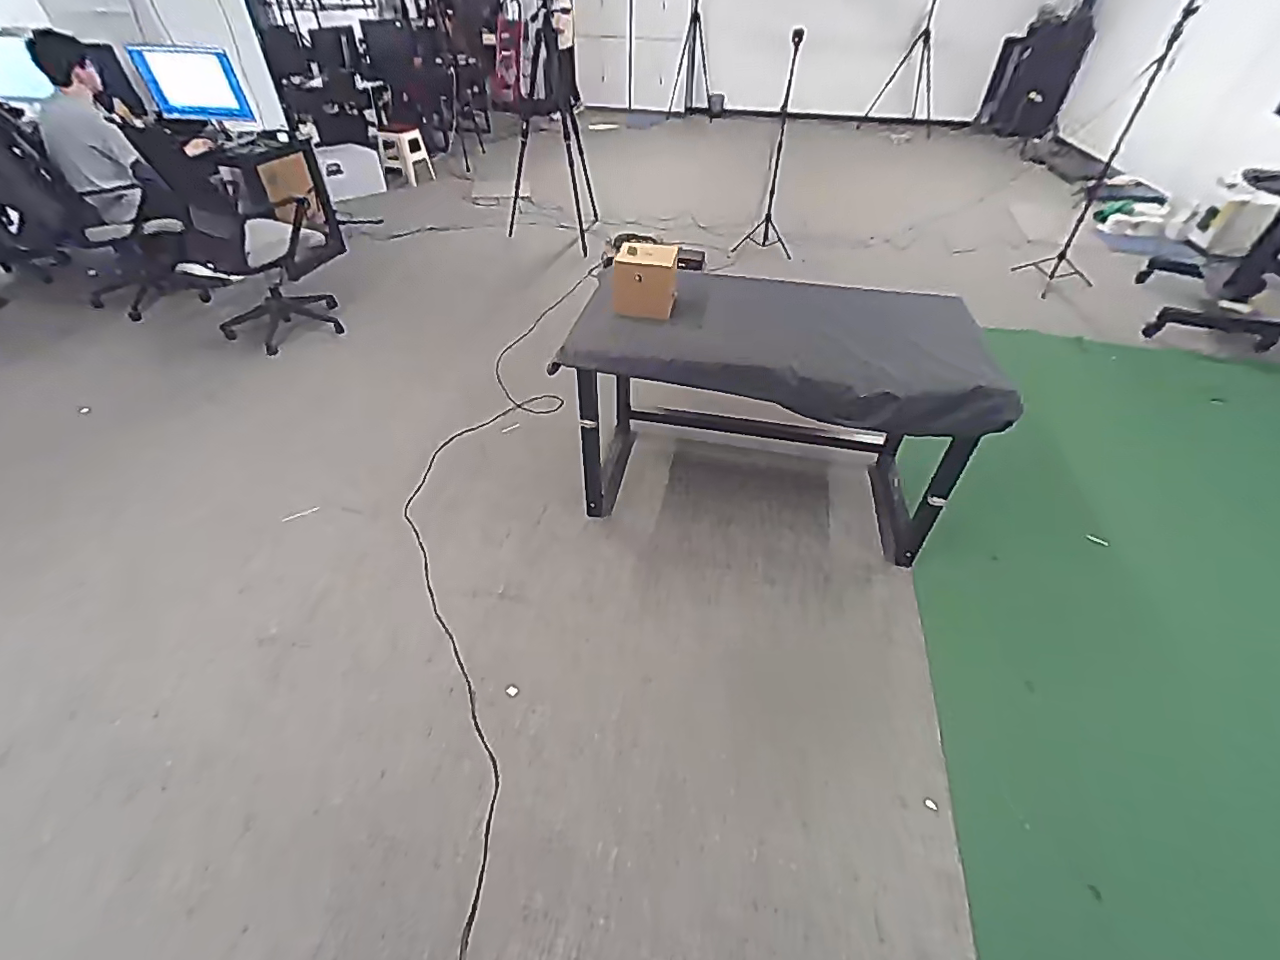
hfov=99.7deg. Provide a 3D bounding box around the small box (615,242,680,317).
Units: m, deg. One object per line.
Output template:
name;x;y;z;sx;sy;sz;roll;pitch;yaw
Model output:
small box;0.023;-0.621;1.679;0.179;0.176;0.168;8;43;6
